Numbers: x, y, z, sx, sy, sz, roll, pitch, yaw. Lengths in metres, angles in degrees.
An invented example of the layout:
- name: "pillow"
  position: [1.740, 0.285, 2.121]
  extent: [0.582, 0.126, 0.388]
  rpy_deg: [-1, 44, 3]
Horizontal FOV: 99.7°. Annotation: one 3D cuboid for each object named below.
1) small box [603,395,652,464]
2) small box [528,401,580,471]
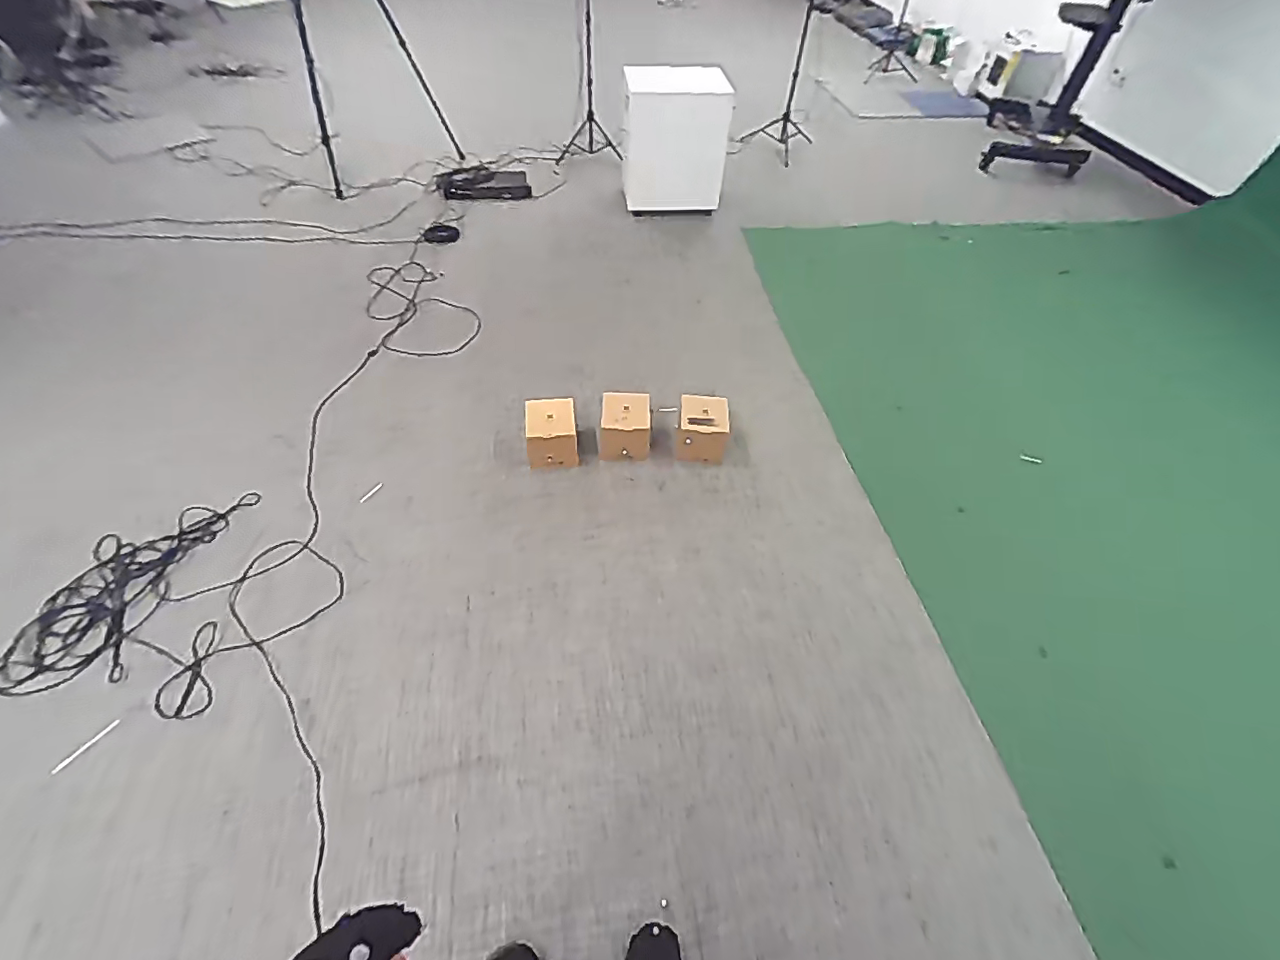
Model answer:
- name: "small box"
  position: [-0.044, -0.179, 1.916]
  extent: [0.168, 0.176, 0.179]
  rpy_deg: [1, 52, -1]
- name: "small box"
  position: [-0.298, -0.152, 1.883]
  extent: [0.168, 0.176, 0.179]
  rpy_deg: [-4, 52, -6]
